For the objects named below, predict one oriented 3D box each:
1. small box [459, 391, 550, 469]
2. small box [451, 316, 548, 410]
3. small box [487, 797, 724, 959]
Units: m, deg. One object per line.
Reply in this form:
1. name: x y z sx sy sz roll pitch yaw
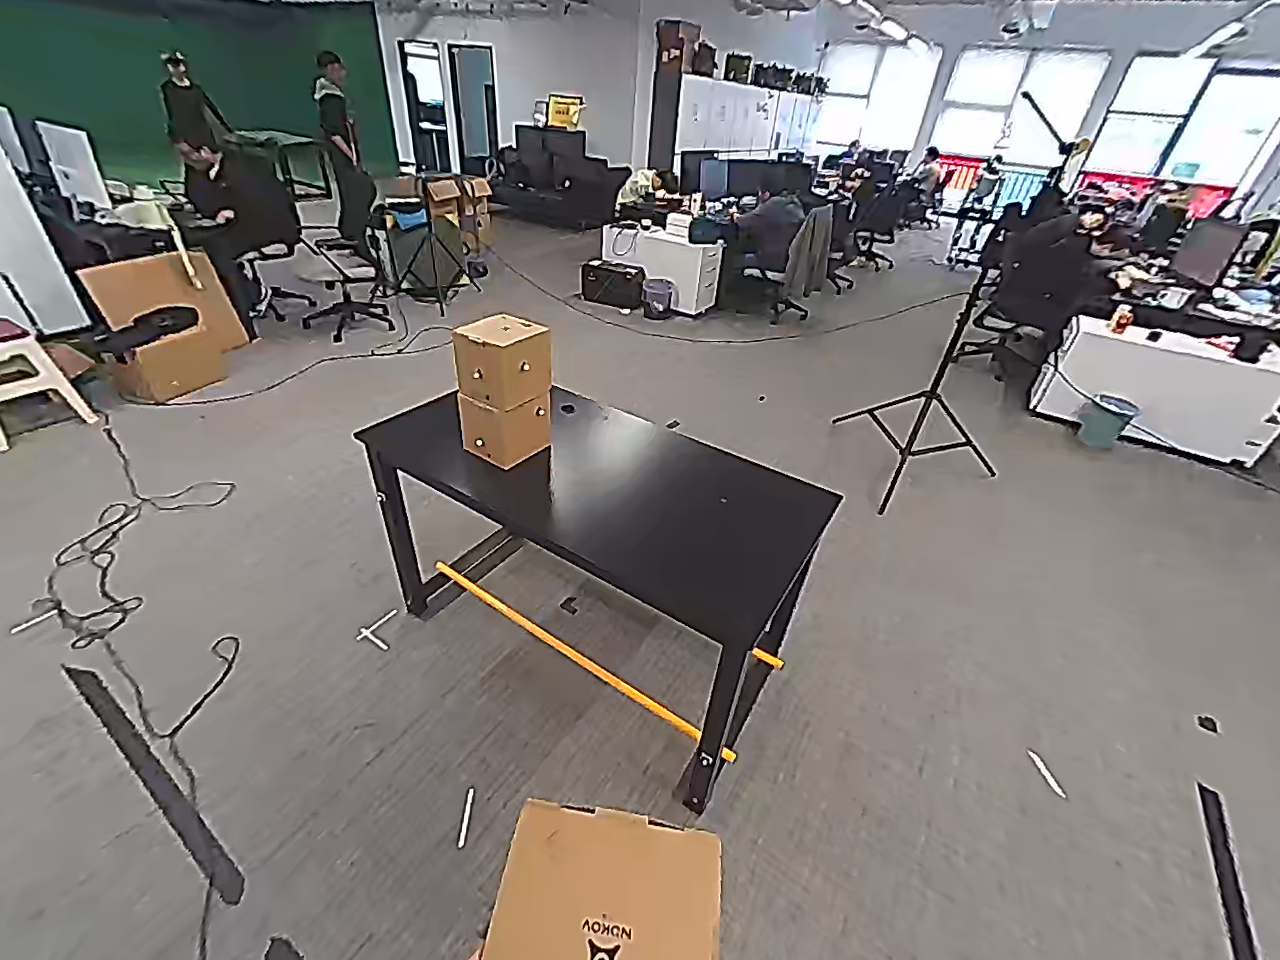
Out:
1. small box: -0.362 -0.158 1.458 0.168 0.176 0.179 24 39 26
2. small box: -0.347 -0.296 1.372 0.168 0.176 0.179 23 39 23
3. small box: -0.032 0.389 0.435 0.168 0.176 0.179 9 44 2
